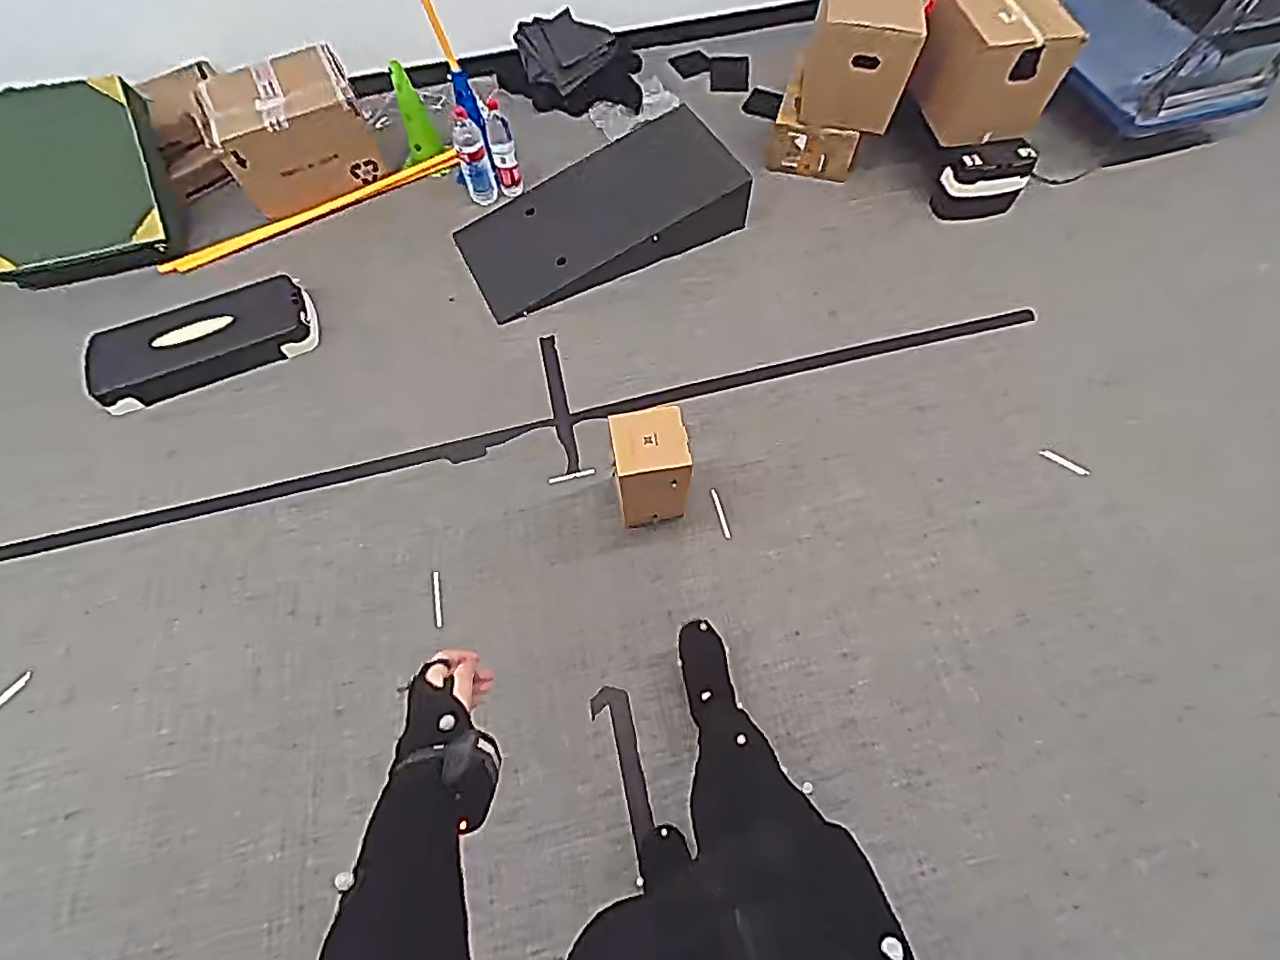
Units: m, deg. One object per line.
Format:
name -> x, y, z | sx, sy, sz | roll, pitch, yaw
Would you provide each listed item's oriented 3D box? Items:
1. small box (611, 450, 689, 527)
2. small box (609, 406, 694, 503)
small box -> 0.022, 0.011, 1.462 | 0.179, 0.176, 0.168 | -11, 65, -5
small box -> 0.025, -0.058, 1.313 | 0.179, 0.176, 0.168 | -9, 65, -2
